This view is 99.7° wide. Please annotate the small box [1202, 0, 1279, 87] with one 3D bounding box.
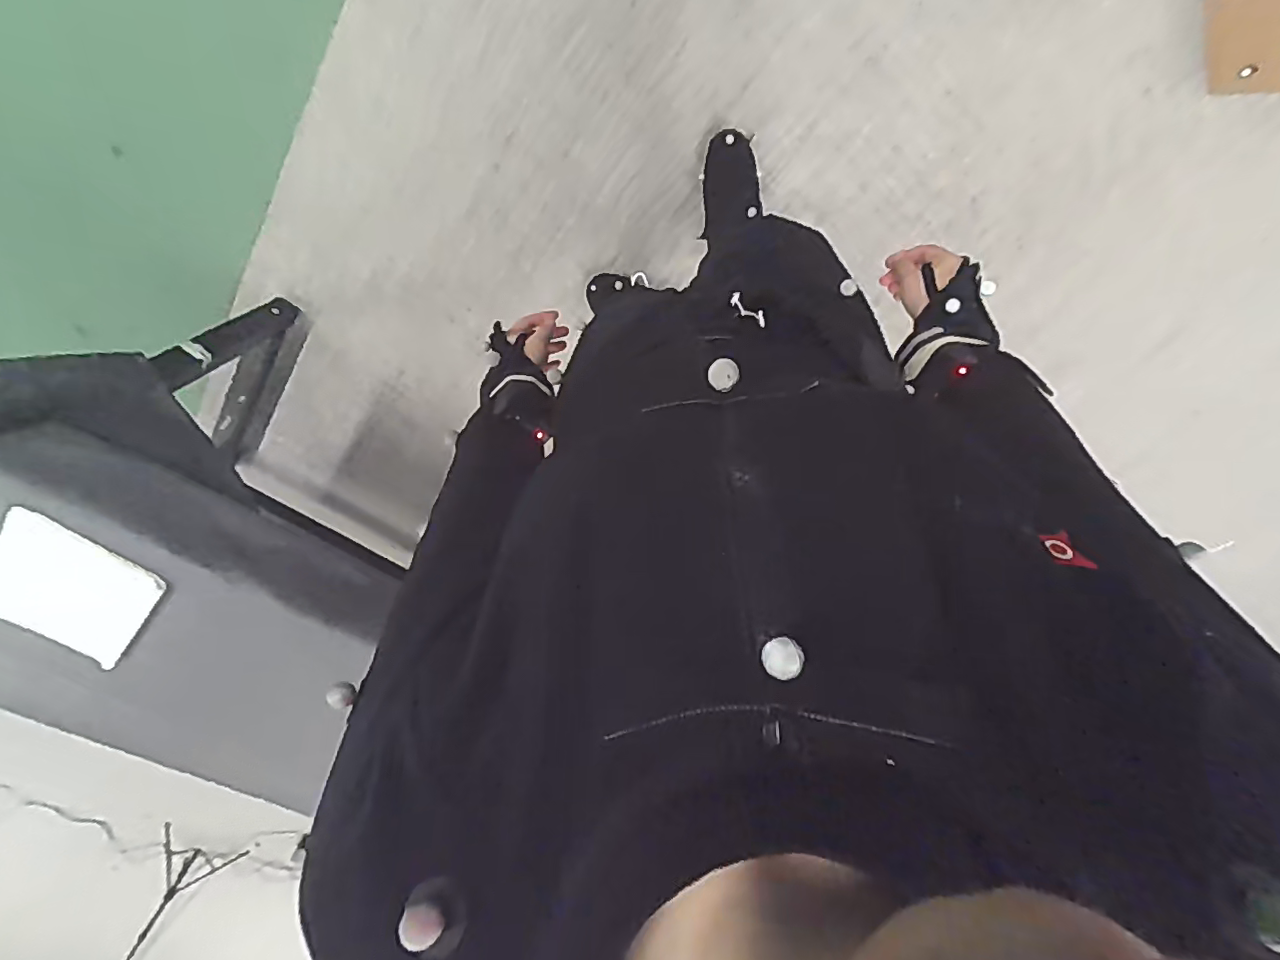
[{"bbox_3d":[1.072,-0.773,0.869,0.168,0.176,0.179,-29,117,19],"label":"small box"}]
